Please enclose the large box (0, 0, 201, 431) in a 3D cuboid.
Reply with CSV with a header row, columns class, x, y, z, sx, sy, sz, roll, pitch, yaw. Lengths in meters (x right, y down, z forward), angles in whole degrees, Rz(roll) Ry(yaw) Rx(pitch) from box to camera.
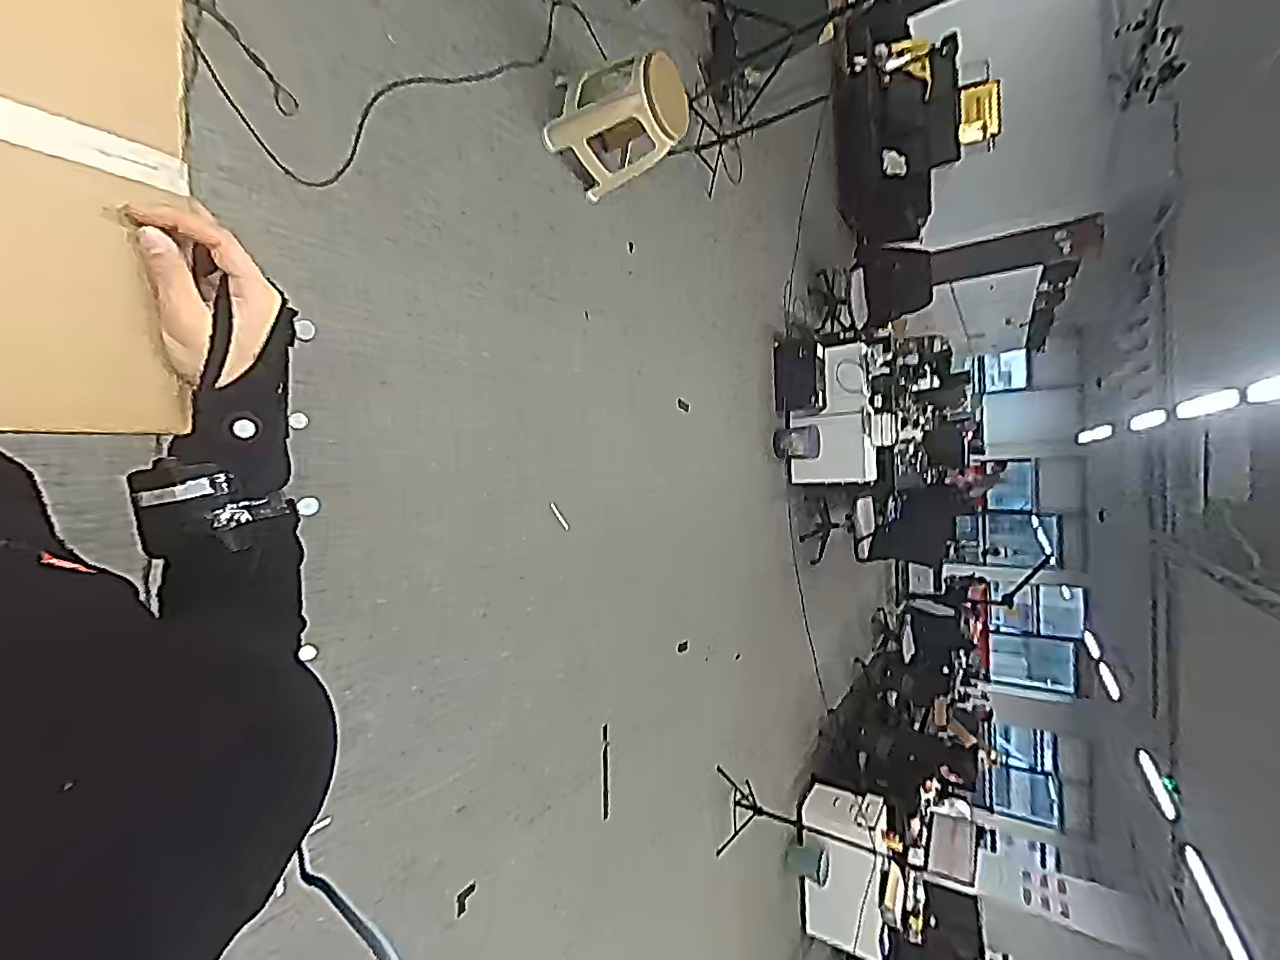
class,x,y,z,sx,sy,sz,roll,pitch,yaw
large box,-0.526,-0.184,0.266,0.408,0.320,0.320,-6,101,-55
